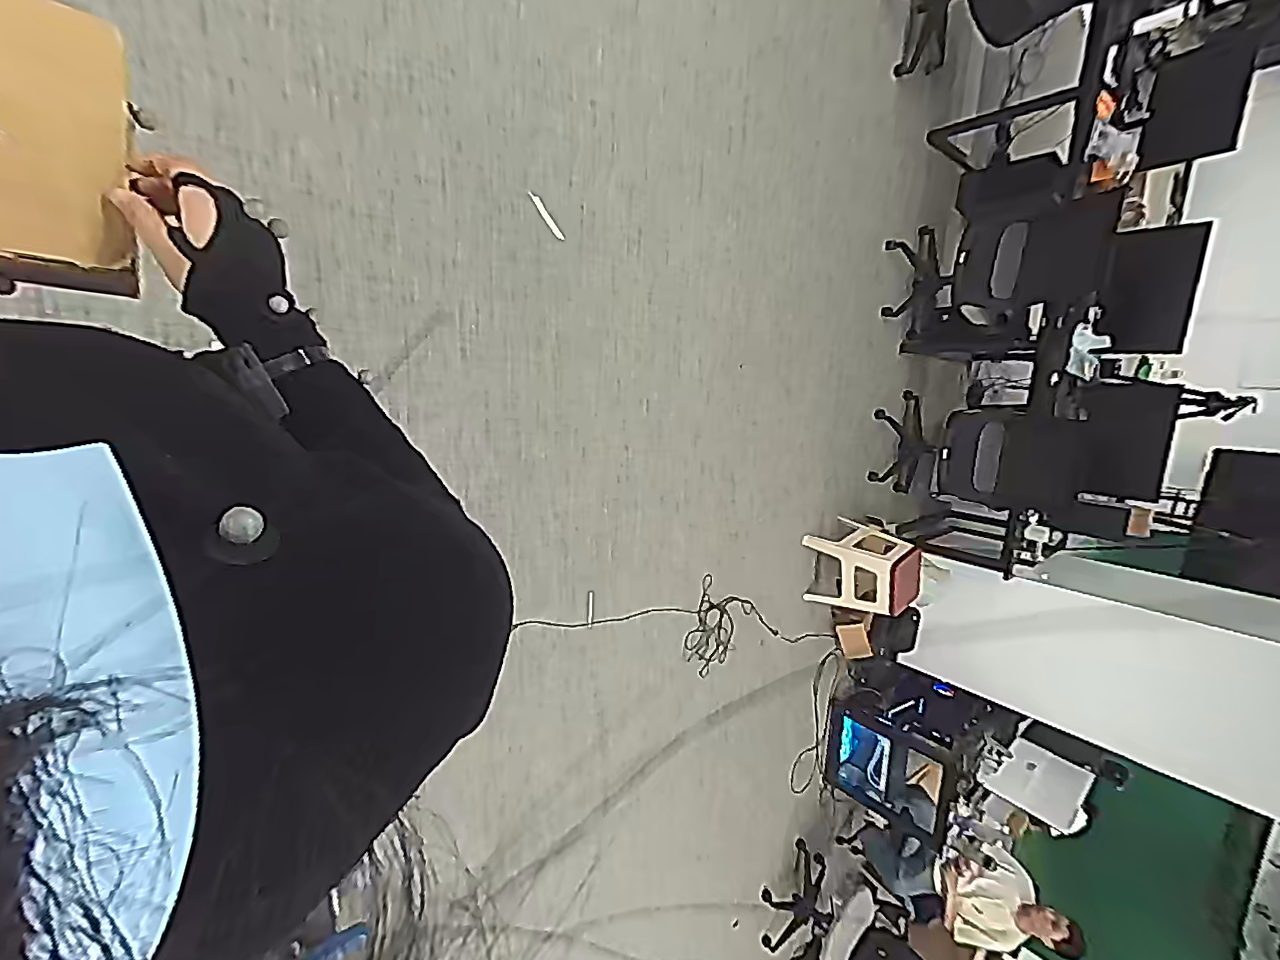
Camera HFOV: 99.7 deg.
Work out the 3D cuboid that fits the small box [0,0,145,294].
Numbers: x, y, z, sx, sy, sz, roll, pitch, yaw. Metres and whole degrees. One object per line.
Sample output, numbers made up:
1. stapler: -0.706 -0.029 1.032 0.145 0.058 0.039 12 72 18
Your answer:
1. small box: -0.484 -0.251 0.403 0.168 0.176 0.179 -2 100 -42
